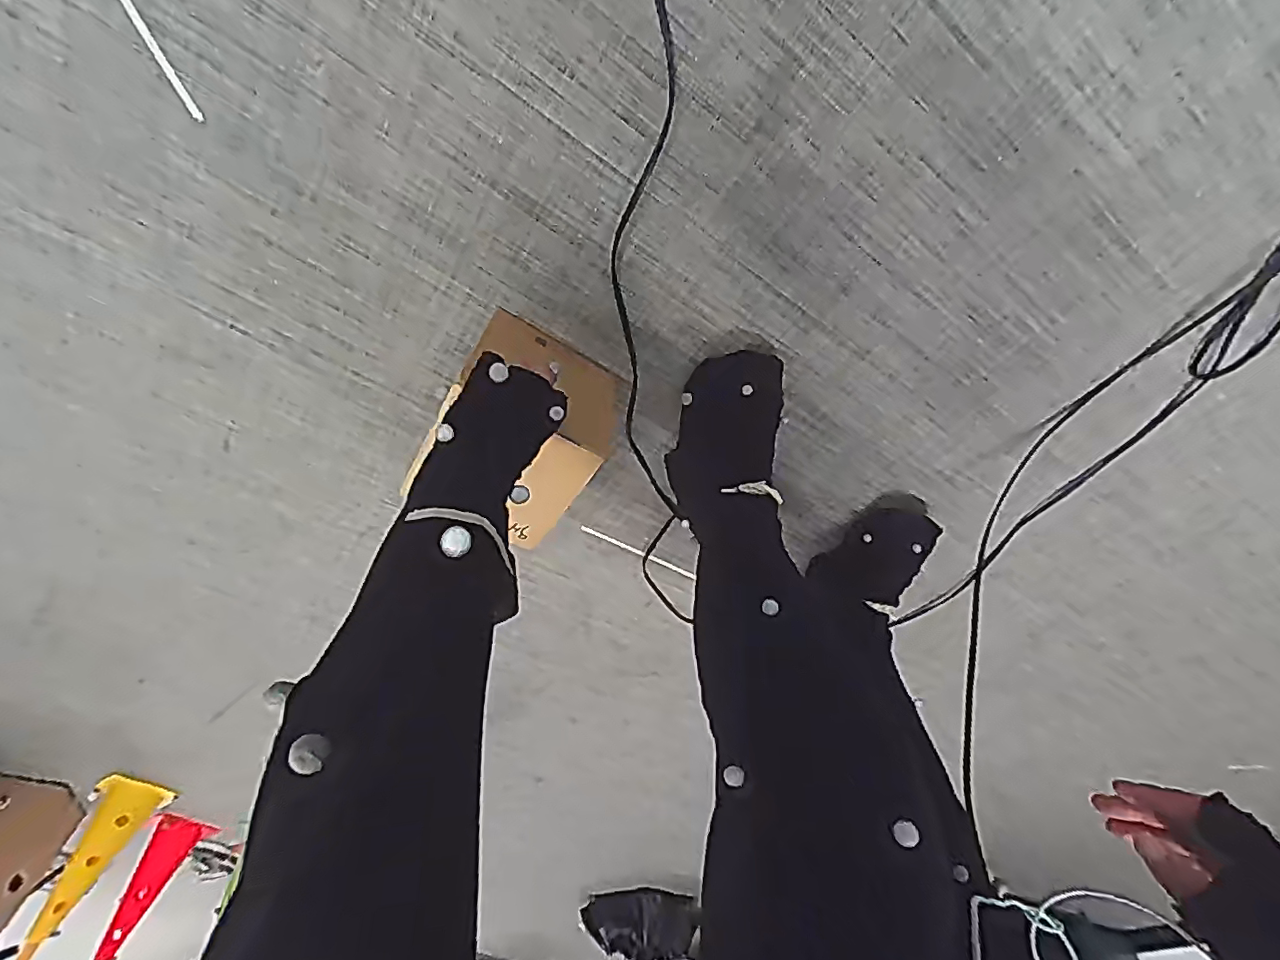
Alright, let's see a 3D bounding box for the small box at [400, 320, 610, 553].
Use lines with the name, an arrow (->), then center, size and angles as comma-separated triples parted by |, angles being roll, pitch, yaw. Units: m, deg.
small box -> -0.147, -0.052, 0.631 | 0.168, 0.176, 0.179 | 28, 126, -21
